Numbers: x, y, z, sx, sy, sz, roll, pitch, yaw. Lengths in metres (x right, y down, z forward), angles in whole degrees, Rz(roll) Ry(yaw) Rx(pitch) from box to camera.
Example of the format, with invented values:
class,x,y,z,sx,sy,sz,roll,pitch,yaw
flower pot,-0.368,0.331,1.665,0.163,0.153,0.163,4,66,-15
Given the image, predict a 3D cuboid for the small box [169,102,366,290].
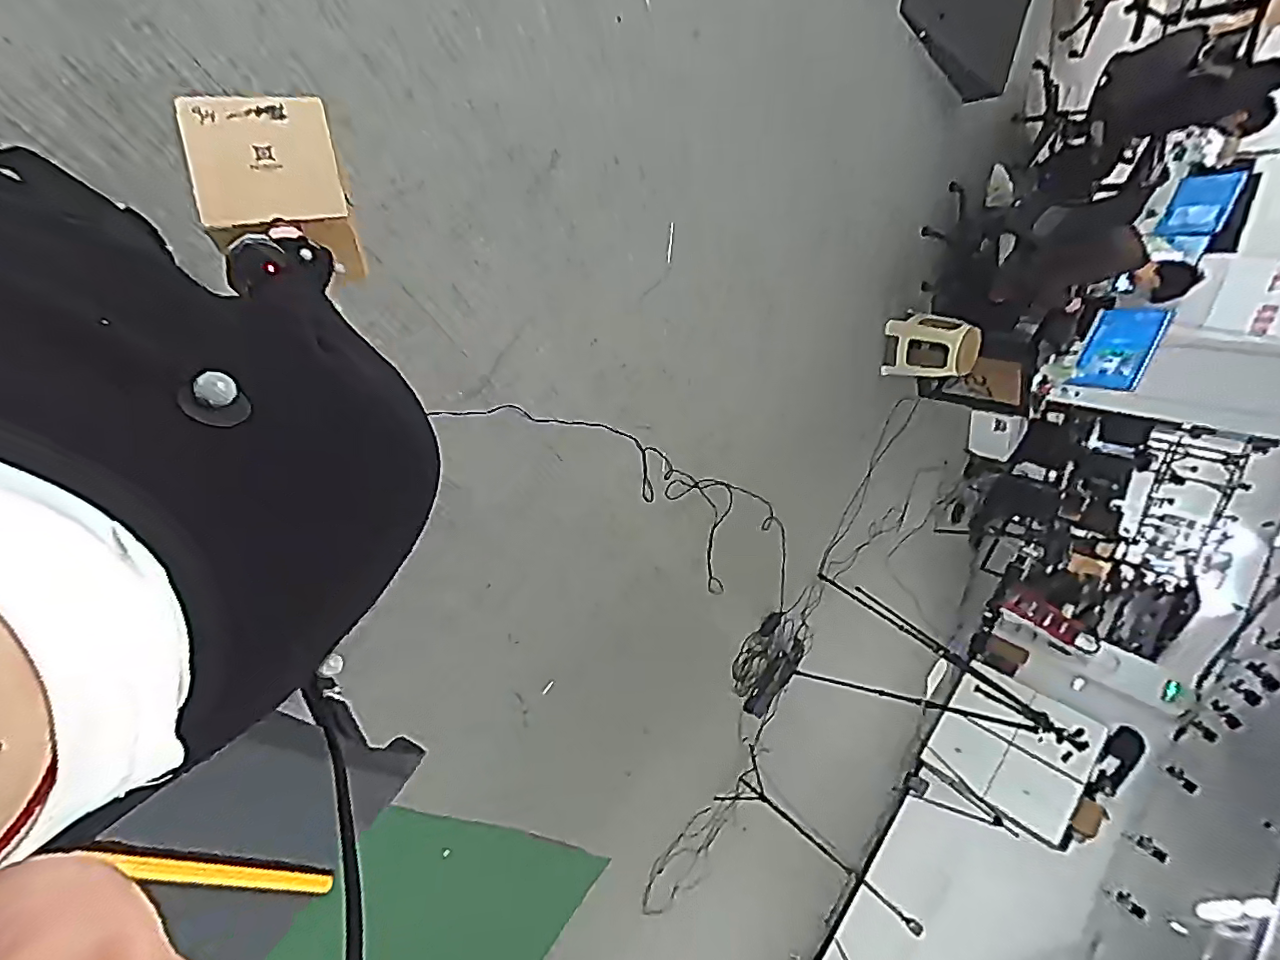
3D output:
class,x,y,z,sx,sy,sz,roll,pitch,yaw
small box,-0.509,-0.388,0.766,0.168,0.176,0.179,-16,86,-18
